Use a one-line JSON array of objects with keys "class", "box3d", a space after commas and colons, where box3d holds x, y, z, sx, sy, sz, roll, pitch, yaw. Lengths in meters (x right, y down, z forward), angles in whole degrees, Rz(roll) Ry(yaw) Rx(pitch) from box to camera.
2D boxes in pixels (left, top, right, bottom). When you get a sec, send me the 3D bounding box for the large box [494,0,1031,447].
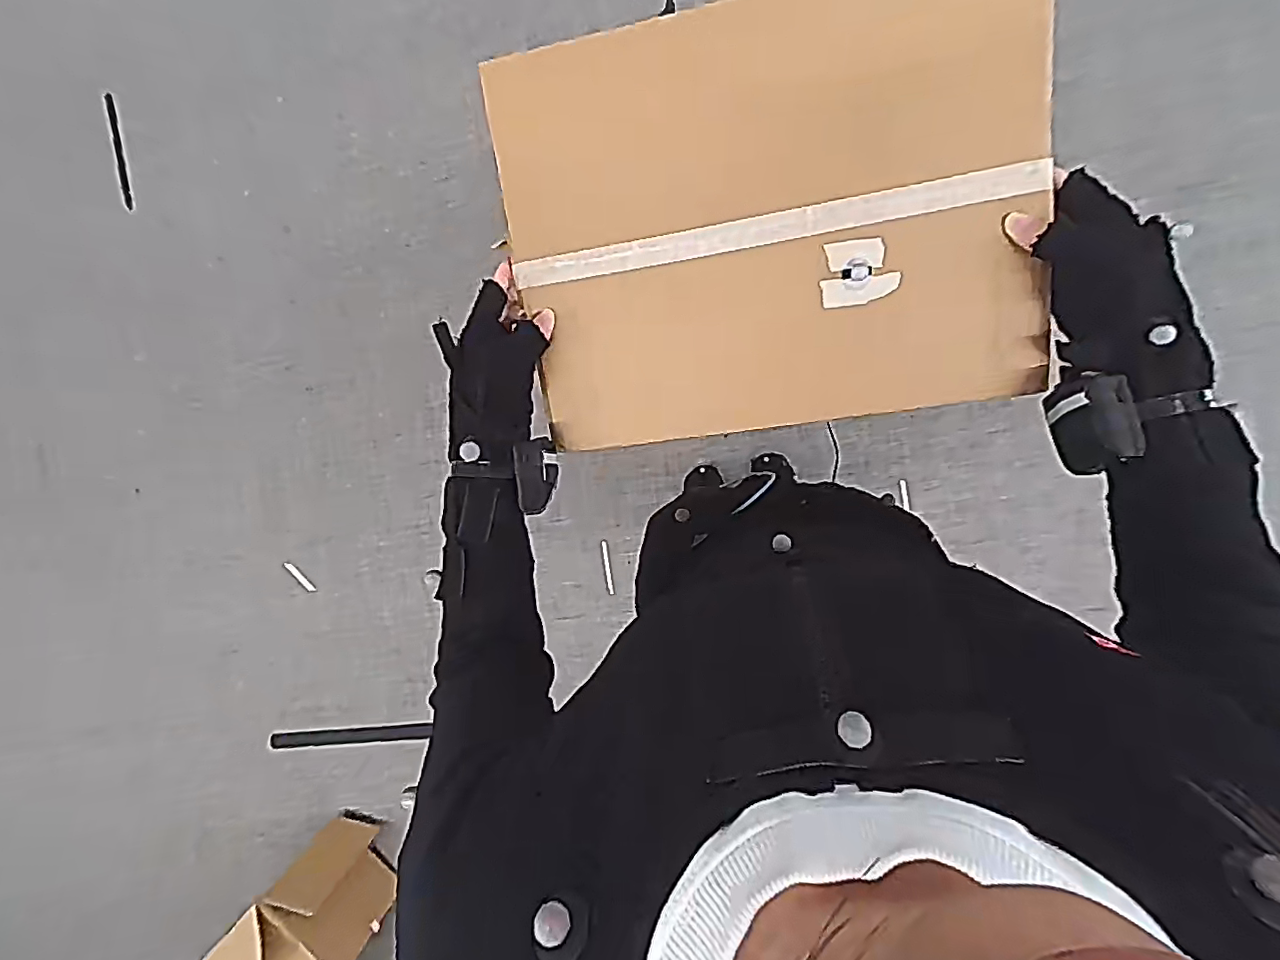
[{"class": "large box", "box3d": [0.116, -0.237, 0.581, 0.408, 0.320, 0.320, -7, 104, 10]}]
